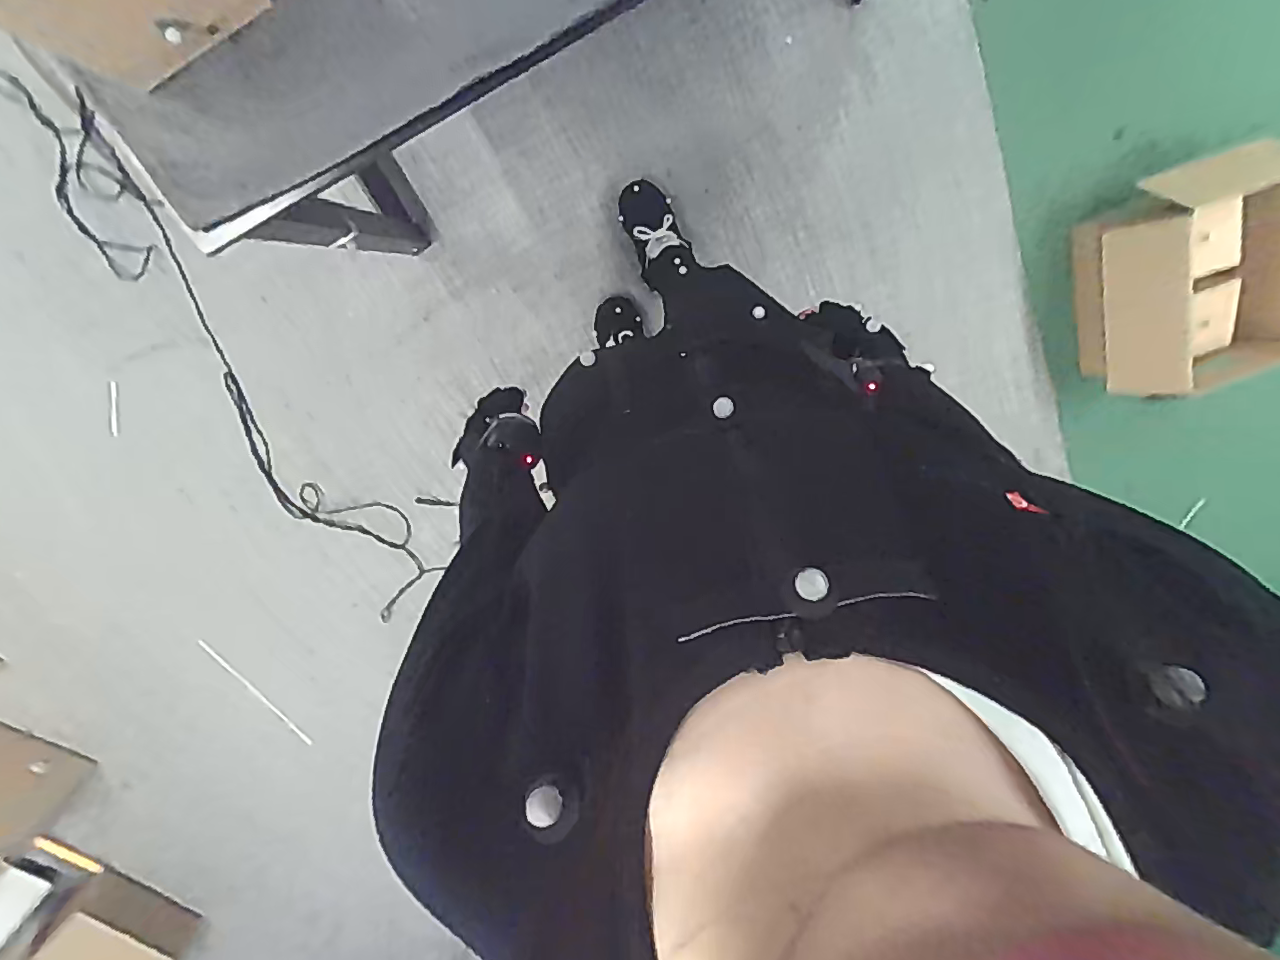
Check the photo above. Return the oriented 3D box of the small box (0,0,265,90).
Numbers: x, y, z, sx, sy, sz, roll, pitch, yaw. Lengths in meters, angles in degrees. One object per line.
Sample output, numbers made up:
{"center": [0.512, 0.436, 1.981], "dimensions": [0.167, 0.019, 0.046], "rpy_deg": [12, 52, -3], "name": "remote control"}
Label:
{"center": [-0.461, -0.465, 0.429], "dimensions": [0.168, 0.176, 0.179], "rpy_deg": [-30, 109, 5], "name": "small box"}
